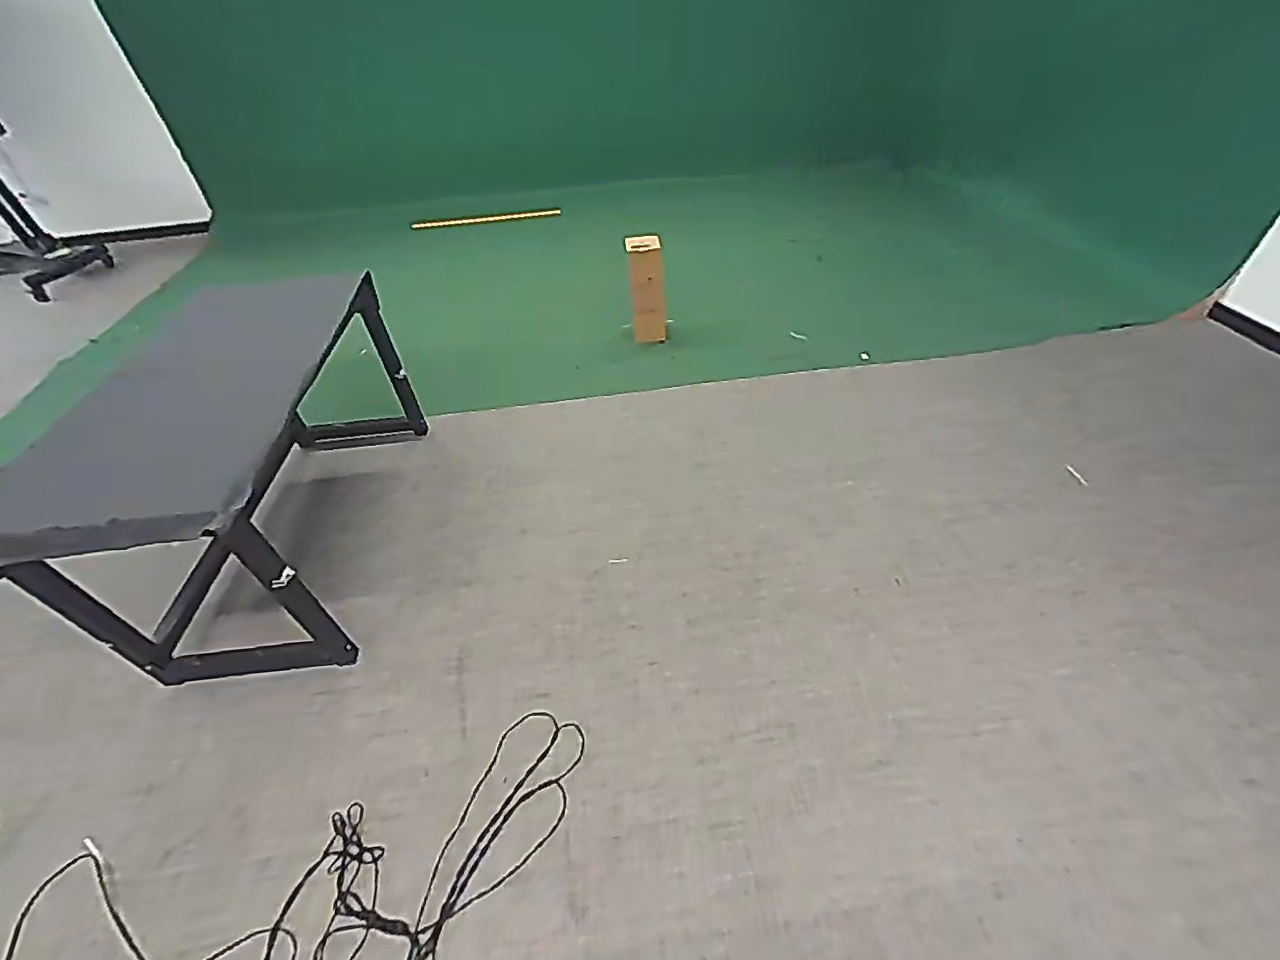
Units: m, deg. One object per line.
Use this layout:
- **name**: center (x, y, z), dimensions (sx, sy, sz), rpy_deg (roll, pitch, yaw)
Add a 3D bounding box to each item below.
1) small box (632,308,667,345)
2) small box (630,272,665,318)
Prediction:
- **small box**: center (0.055, -0.850, 2.949), dimensions (0.168, 0.176, 0.179), rpy_deg (-8, 43, -1)
- **small box**: center (0.038, -0.969, 2.836), dimensions (0.168, 0.176, 0.179), rpy_deg (-7, 43, 1)
